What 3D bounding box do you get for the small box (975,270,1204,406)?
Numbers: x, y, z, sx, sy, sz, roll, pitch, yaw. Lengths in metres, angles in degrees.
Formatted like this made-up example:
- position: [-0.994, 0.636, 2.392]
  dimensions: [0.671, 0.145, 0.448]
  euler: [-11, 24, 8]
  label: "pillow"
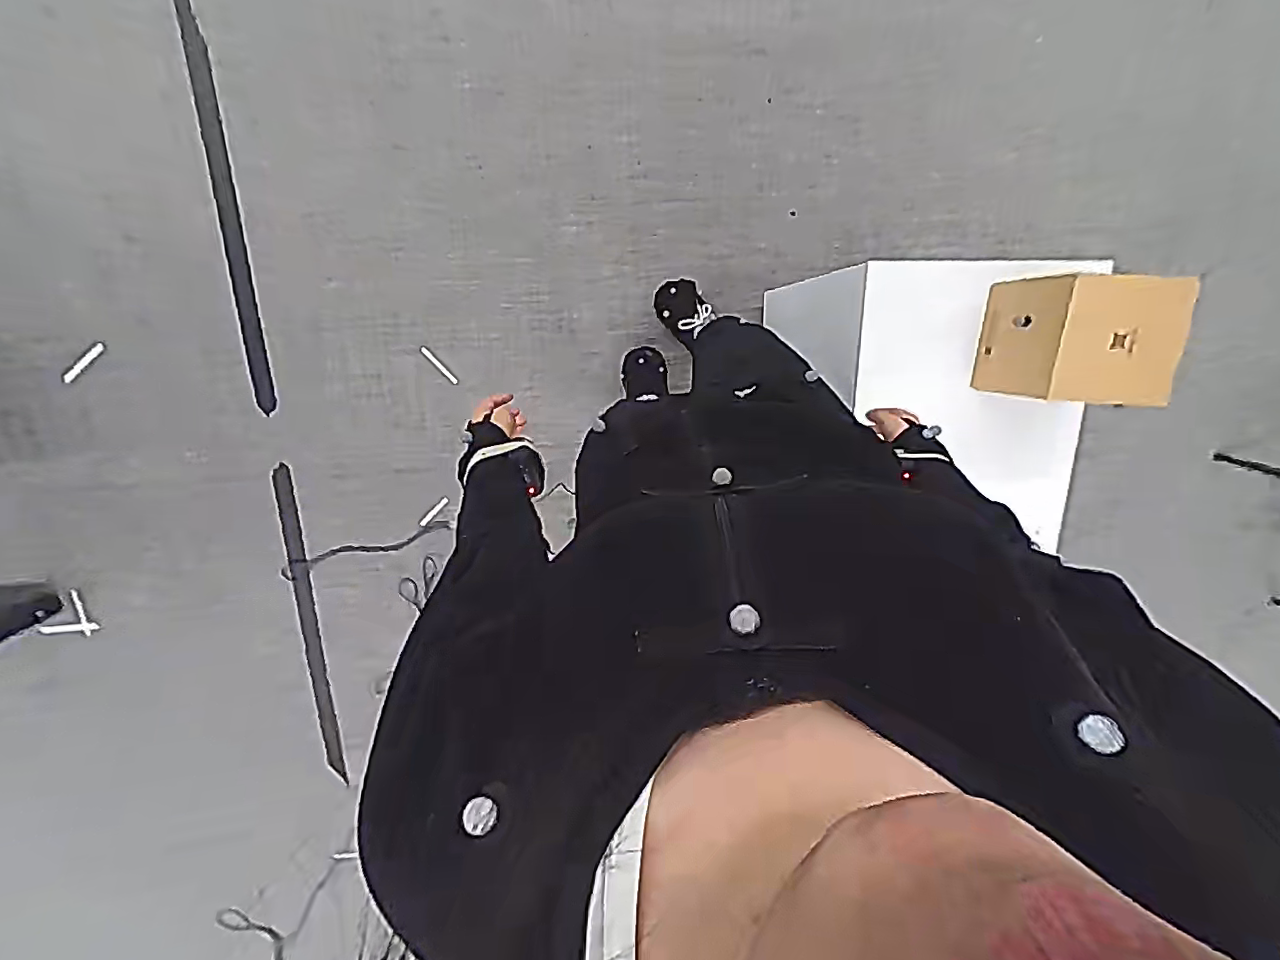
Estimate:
- position: [0.630, -0.203, 0.785]
  dimensions: [0.179, 0.176, 0.168]
  euler: [2, 105, -4]
  label: "small box"
